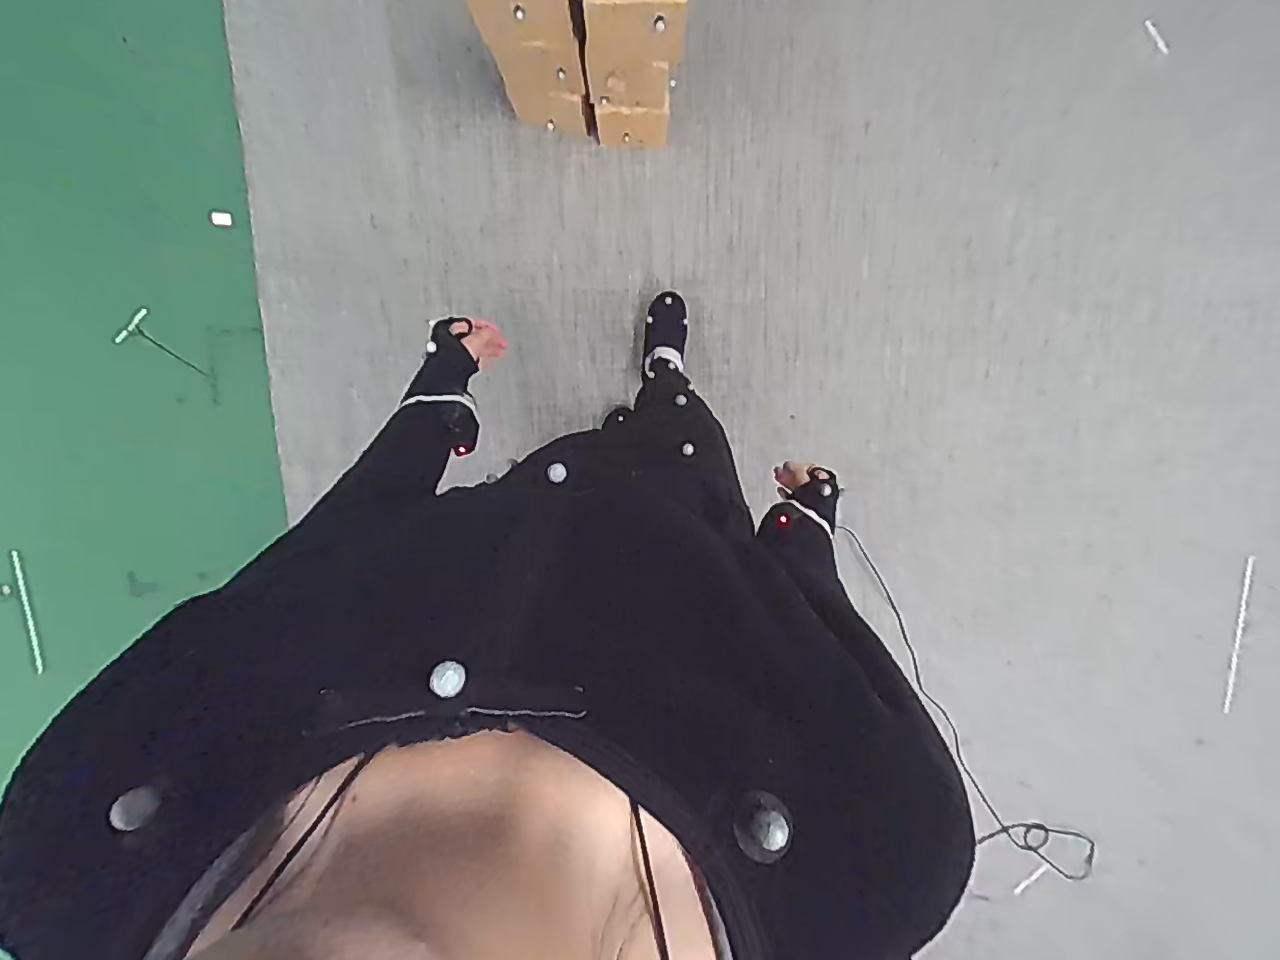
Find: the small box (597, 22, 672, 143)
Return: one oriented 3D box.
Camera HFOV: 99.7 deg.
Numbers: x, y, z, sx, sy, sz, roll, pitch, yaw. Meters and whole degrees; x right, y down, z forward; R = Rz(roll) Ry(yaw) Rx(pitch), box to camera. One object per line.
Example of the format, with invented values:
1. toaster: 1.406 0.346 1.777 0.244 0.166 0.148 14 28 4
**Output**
1. small box: -0.014 -0.921 1.265 0.168 0.176 0.179 -1 101 0
